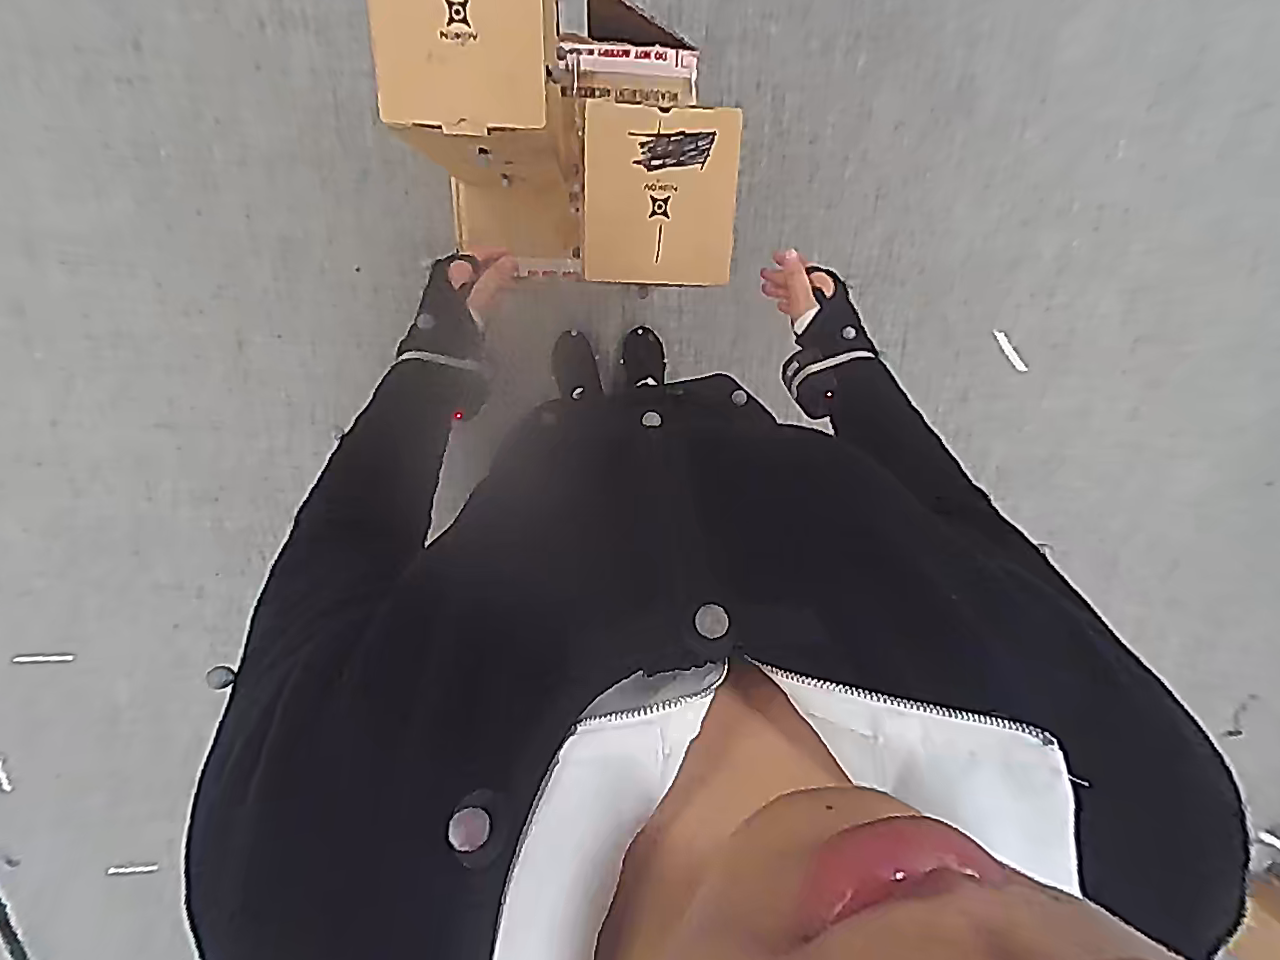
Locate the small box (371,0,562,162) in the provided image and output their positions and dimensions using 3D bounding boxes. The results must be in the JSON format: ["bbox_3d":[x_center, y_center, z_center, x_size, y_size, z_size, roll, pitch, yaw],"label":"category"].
[{"bbox_3d":[-0.177,-0.464,0.595,0.168,0.176,0.179,0,110,-3],"label":"small box"}]

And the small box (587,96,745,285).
[{"bbox_3d":[0.019,-0.334,0.658,0.168,0.176,0.179,0,110,-4],"label":"small box"}]

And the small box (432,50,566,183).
[{"bbox_3d":[-0.192,-0.526,0.747,0.168,0.176,0.179,-1,110,-3],"label":"small box"}]
